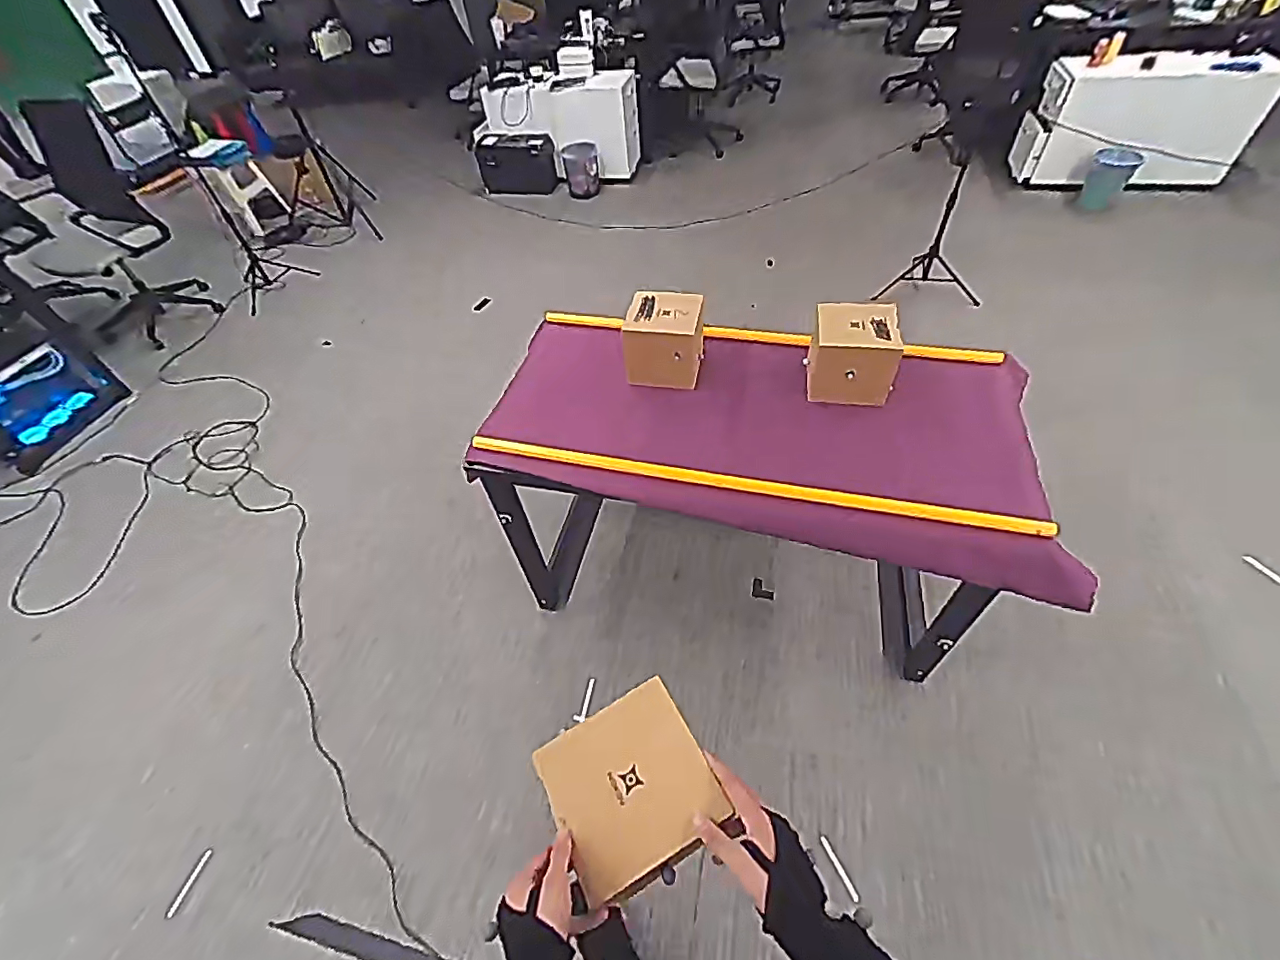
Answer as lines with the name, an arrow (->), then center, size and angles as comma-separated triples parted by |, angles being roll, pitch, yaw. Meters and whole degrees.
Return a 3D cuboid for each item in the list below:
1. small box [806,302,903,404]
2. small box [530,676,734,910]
small box -> 0.489, -0.292, 1.255 | 0.179, 0.176, 0.168 | 4, 52, 11
small box -> -0.002, 0.371, 0.653 | 0.179, 0.176, 0.168 | -30, 55, -7
